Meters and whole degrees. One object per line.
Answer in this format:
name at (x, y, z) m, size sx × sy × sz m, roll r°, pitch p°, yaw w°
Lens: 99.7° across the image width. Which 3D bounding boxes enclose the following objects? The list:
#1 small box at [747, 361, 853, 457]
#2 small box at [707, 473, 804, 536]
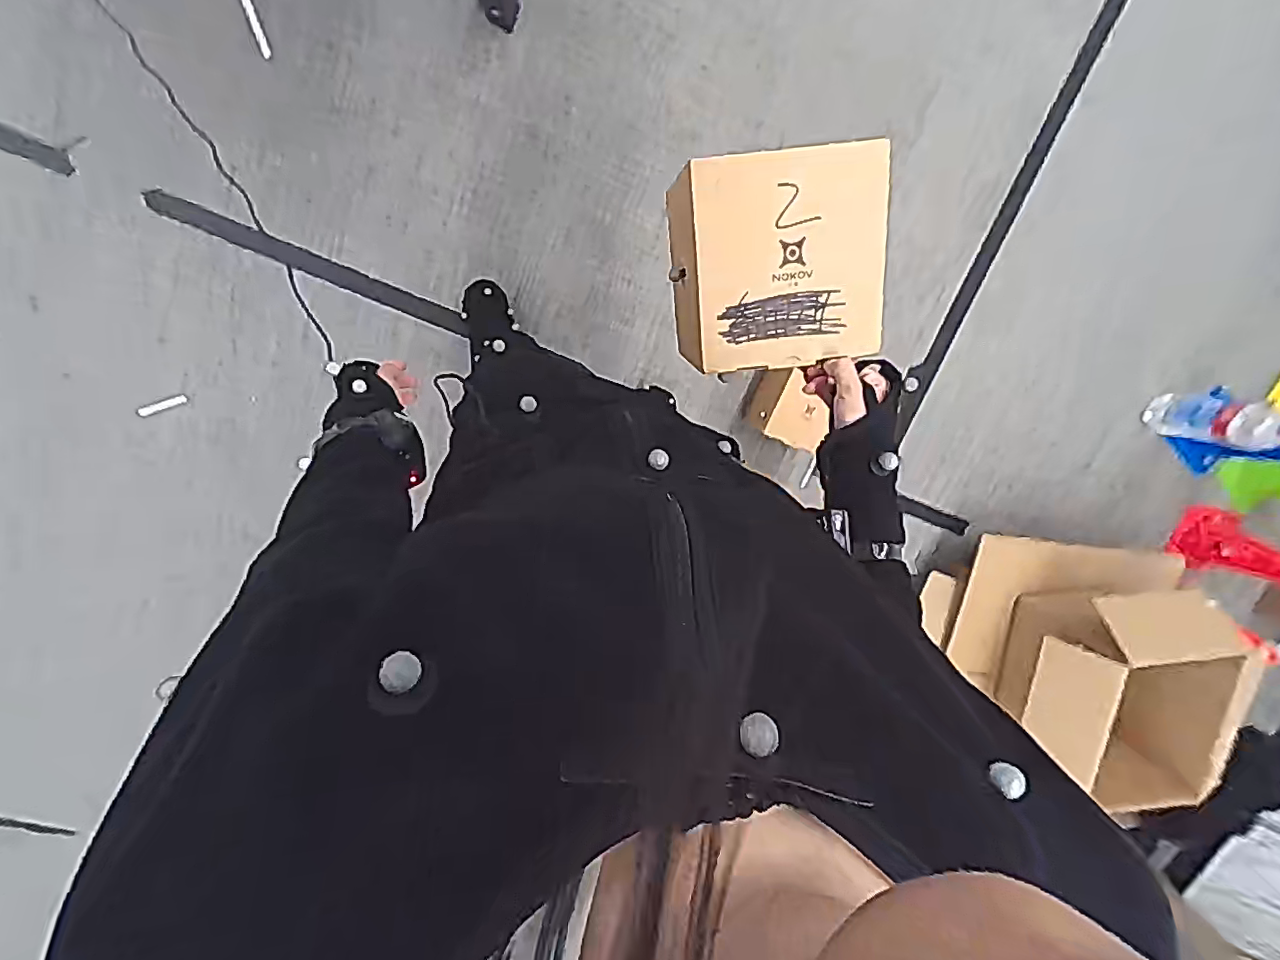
small box at (0.389, -0.184, 1.352) m, size 0.168 × 0.176 × 0.179 m, roll 20°, pitch 105°, yaw -12°
small box at (0.295, 0.095, 1.429) m, size 0.179 × 0.176 × 0.168 m, roll 19°, pitch 105°, yaw -12°
